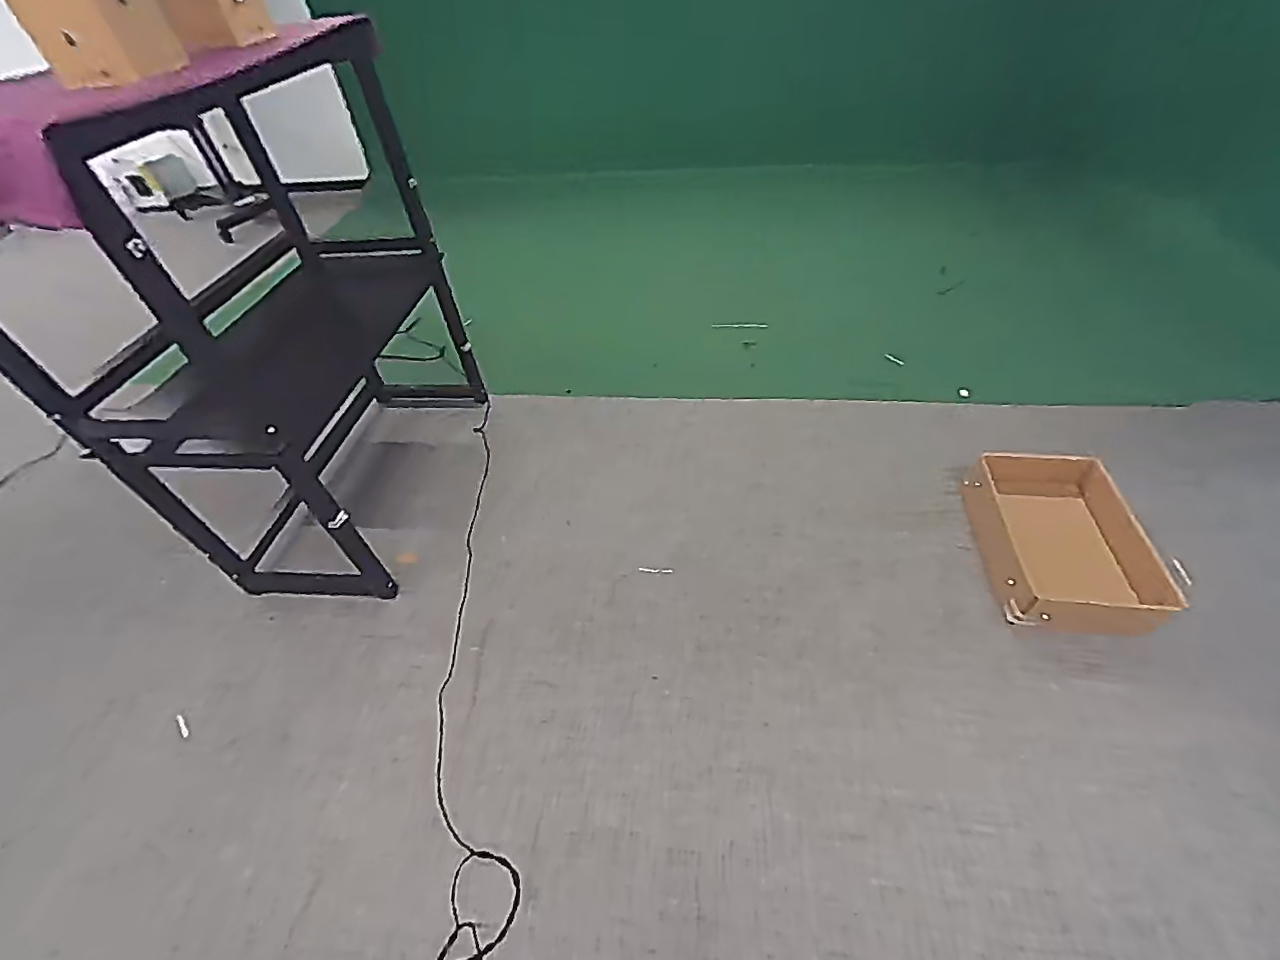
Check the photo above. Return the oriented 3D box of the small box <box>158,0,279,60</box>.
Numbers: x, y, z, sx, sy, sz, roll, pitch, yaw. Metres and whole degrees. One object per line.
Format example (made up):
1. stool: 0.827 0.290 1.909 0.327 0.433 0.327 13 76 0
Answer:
1. small box: -1.096 -1.218 1.403 0.179 0.176 0.168 3 47 10

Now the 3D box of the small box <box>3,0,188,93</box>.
1. small box: -1.078 -0.897 1.089 0.168 0.176 0.179 -2 46 5
